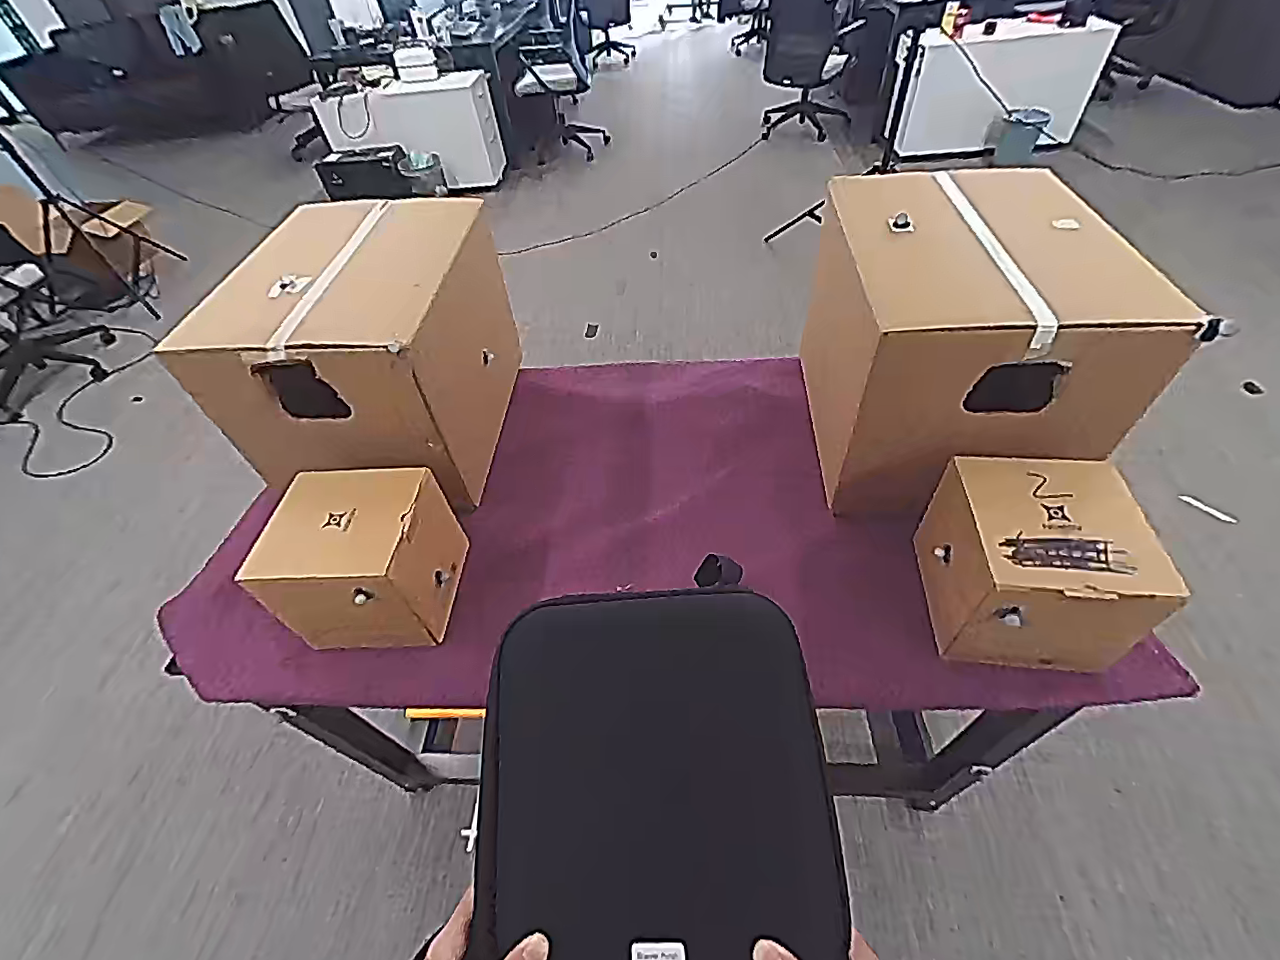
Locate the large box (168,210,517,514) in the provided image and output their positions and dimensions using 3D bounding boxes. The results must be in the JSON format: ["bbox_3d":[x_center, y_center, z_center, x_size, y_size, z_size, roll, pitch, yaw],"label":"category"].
[{"bbox_3d":[-0.406,-0.191,0.875,0.320,0.320,0.408,-1,50,3],"label":"large box"}]

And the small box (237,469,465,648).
[{"bbox_3d":[-0.352,0.105,0.700,0.179,0.176,0.168,-3,47,3],"label":"small box"}]
